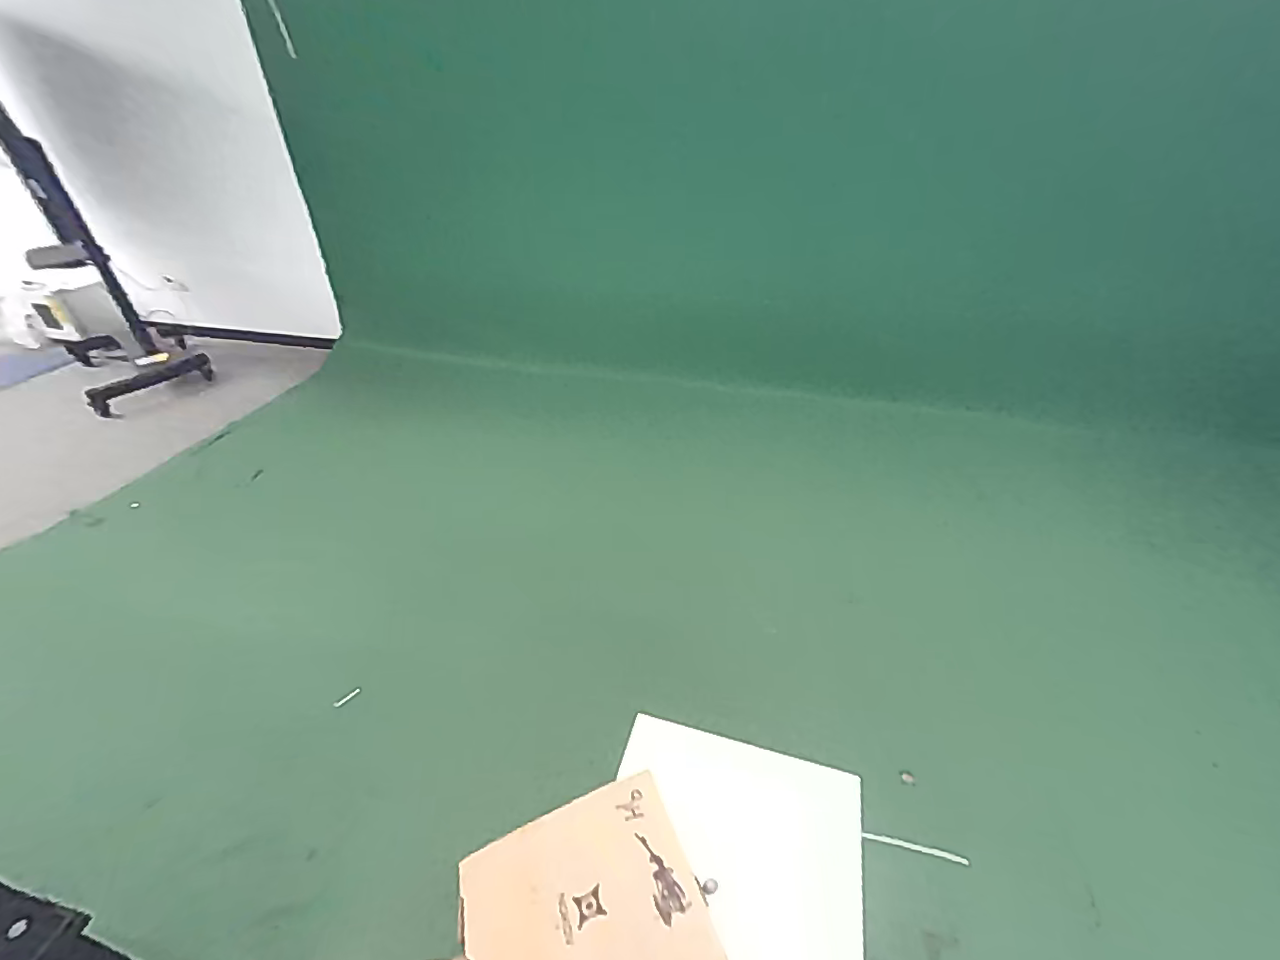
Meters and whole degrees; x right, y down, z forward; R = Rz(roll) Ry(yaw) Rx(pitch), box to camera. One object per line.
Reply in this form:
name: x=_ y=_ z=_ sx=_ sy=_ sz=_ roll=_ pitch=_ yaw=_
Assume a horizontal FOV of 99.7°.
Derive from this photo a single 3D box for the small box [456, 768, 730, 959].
small box: x=-0.024 y=0.378 z=0.419 sx=0.179 sy=0.176 sz=0.168 roll=-22 pitch=27 yaw=-11
